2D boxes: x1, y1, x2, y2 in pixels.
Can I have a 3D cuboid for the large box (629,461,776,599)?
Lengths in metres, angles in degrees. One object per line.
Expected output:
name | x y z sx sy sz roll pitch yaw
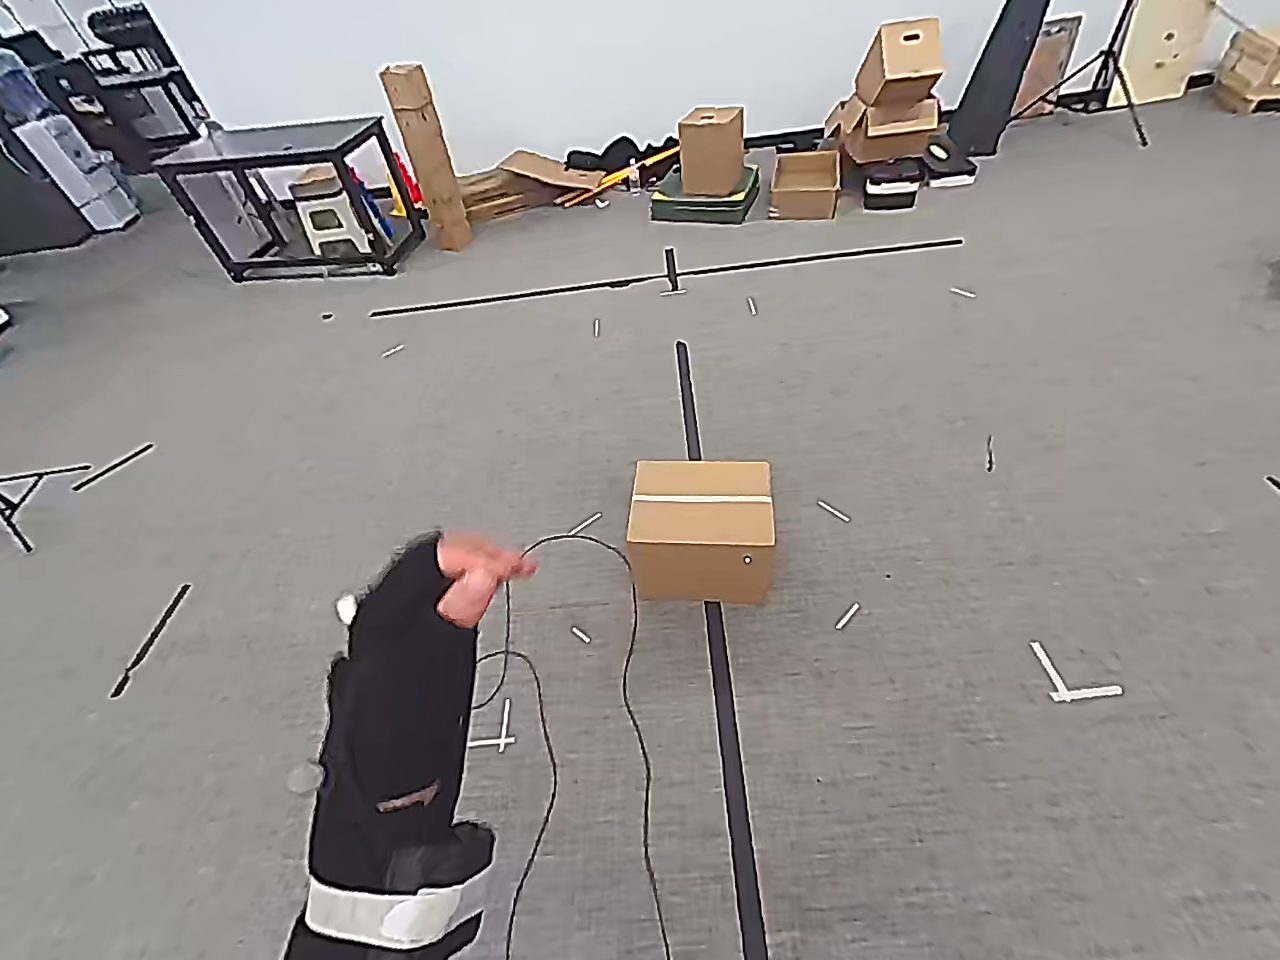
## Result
large box | 0.194 0.156 1.667 0.408 0.320 0.320 1 48 8
